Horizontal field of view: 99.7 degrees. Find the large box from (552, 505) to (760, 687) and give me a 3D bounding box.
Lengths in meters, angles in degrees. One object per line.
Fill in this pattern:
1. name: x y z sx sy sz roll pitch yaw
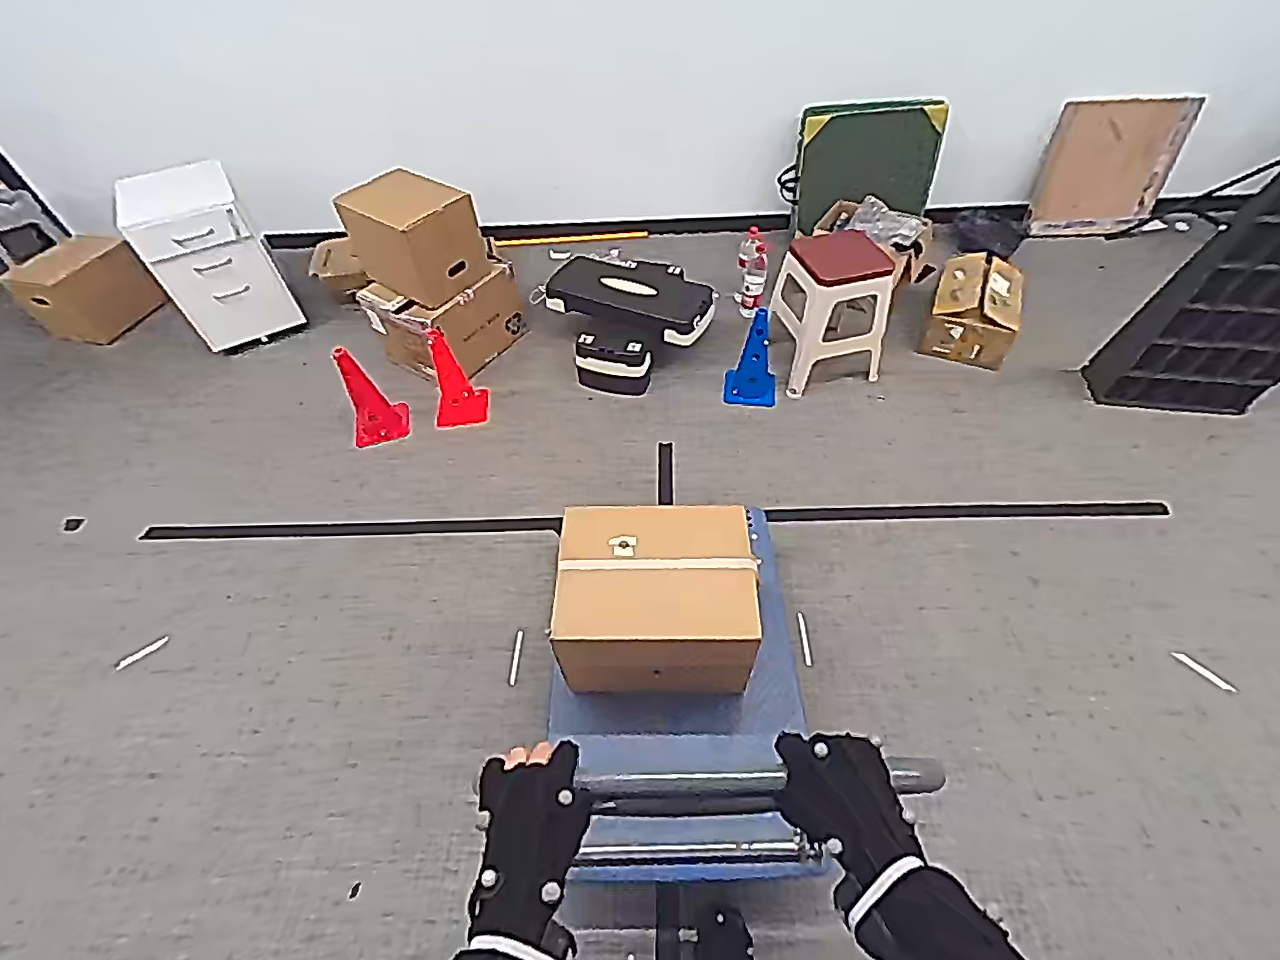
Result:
1. large box: 0.038 0.272 1.235 0.408 0.320 0.320 -1 51 3
